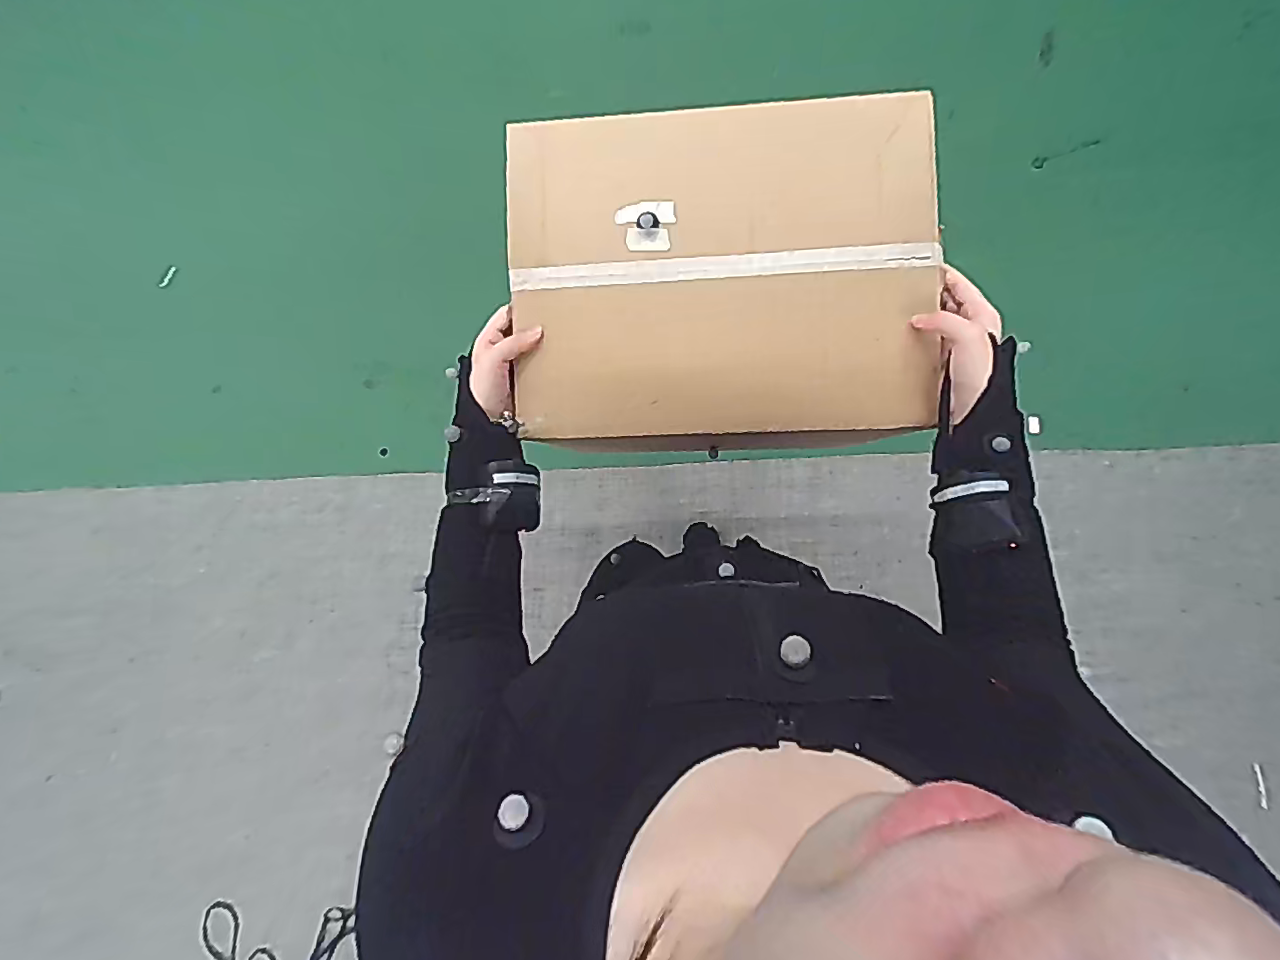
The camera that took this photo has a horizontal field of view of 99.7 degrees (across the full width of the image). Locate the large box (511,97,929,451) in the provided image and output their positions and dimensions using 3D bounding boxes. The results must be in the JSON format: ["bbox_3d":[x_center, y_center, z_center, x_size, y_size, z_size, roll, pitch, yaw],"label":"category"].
[{"bbox_3d":[0.088,-0.202,0.679,0.408,0.320,0.320,-2,89,6],"label":"large box"}]
